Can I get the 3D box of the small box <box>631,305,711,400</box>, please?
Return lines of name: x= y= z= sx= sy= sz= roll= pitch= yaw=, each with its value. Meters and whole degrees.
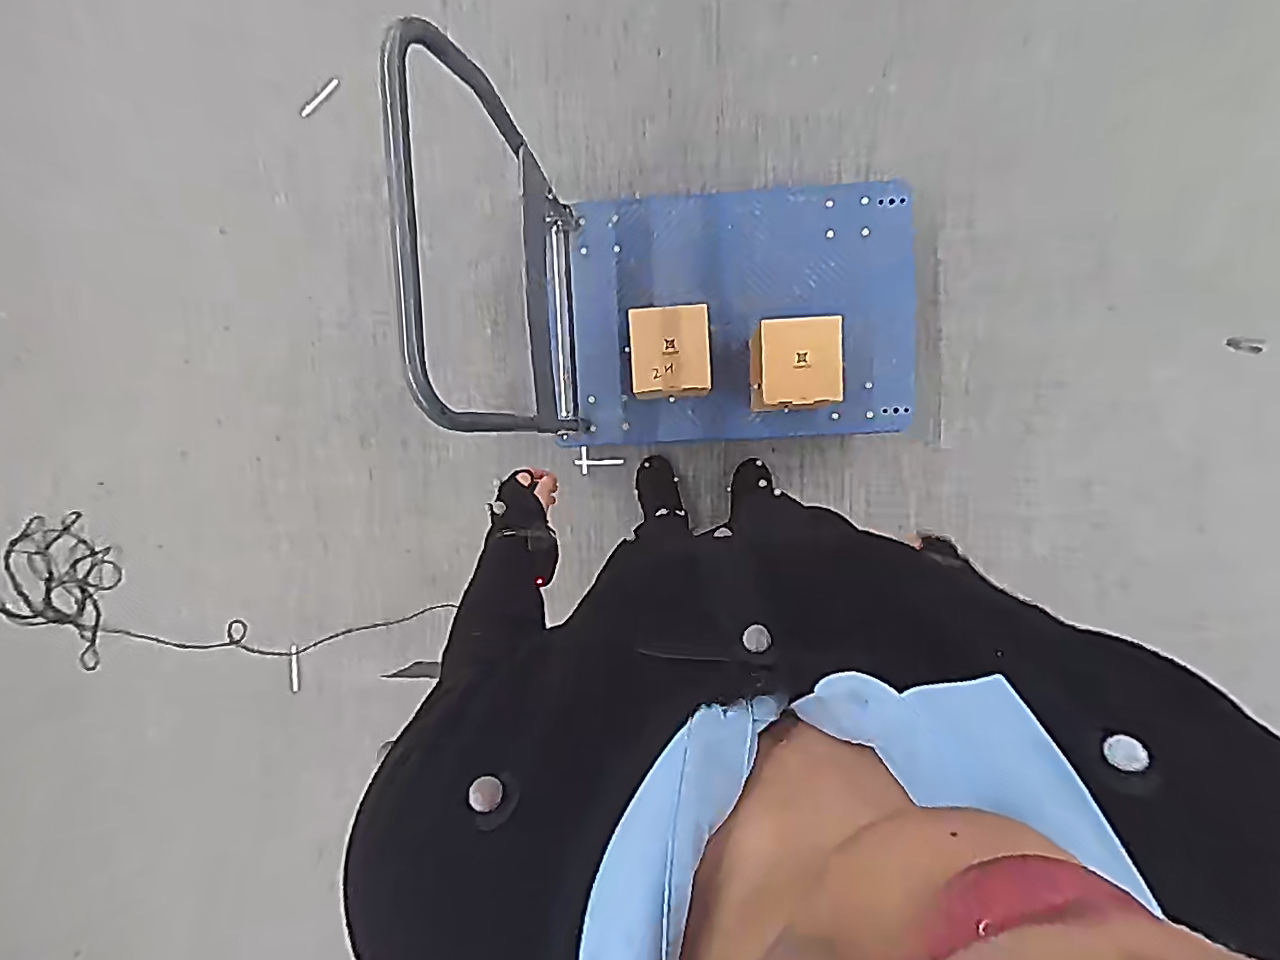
small box: x=0.069 y=-0.277 z=1.207 sx=0.168 sy=0.176 sz=0.179 roll=-3 pitch=94 yaw=4

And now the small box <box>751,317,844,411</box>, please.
small box: x=0.341 y=-0.249 z=1.194 sx=0.168 sy=0.176 sz=0.179 roll=-3 pitch=93 yaw=4
